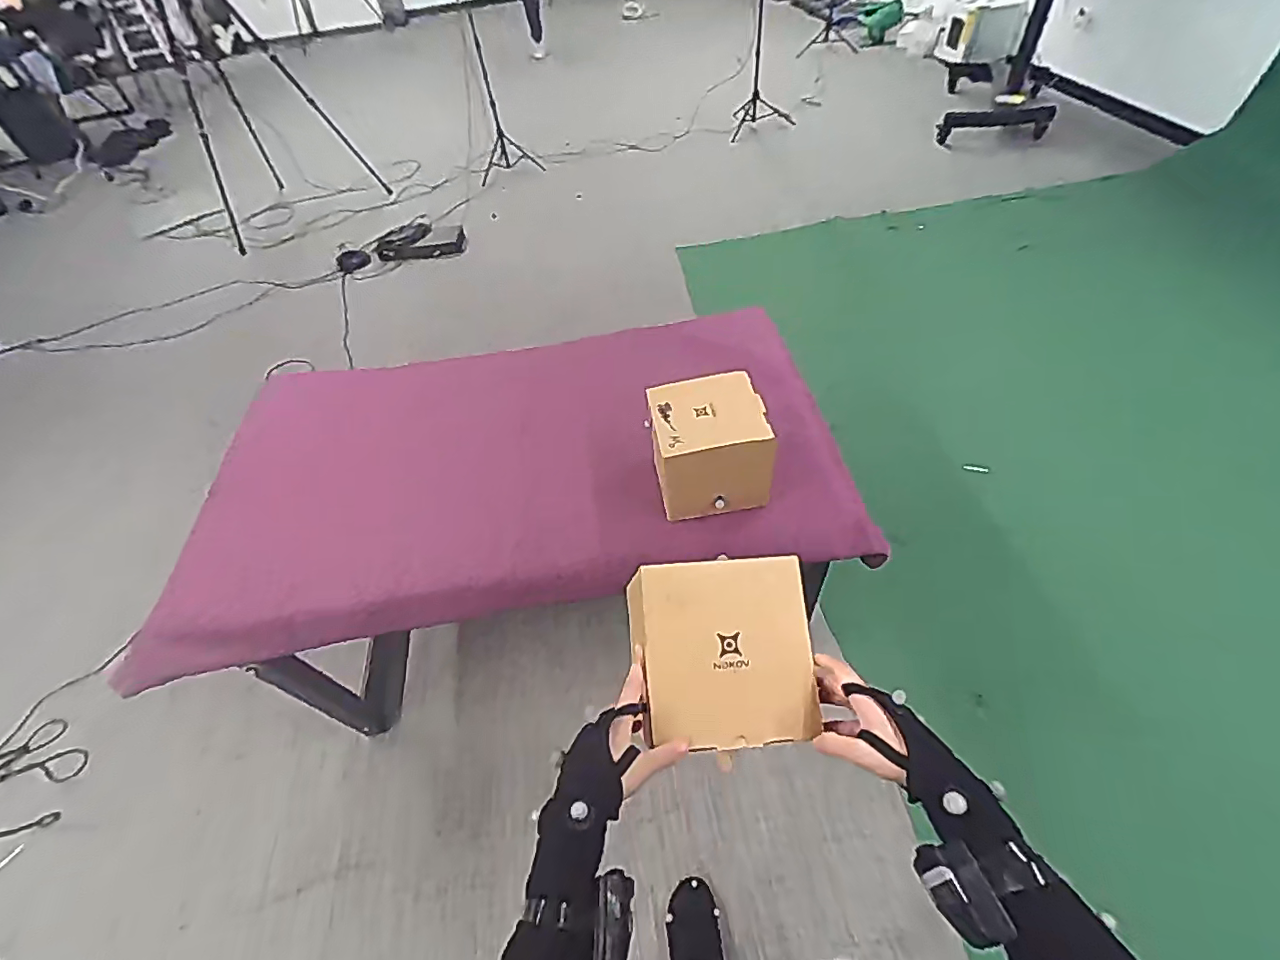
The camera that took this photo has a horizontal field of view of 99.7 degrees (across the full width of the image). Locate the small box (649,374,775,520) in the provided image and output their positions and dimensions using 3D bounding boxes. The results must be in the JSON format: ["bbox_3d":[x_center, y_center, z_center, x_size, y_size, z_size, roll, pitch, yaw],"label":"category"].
[{"bbox_3d":[0.115,-0.052,0.919,0.179,0.176,0.168,-10,48,0],"label":"small box"}]

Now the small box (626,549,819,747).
[{"bbox_3d":[0.075,0.179,0.596,0.168,0.176,0.179,-3,74,-5],"label":"small box"}]
